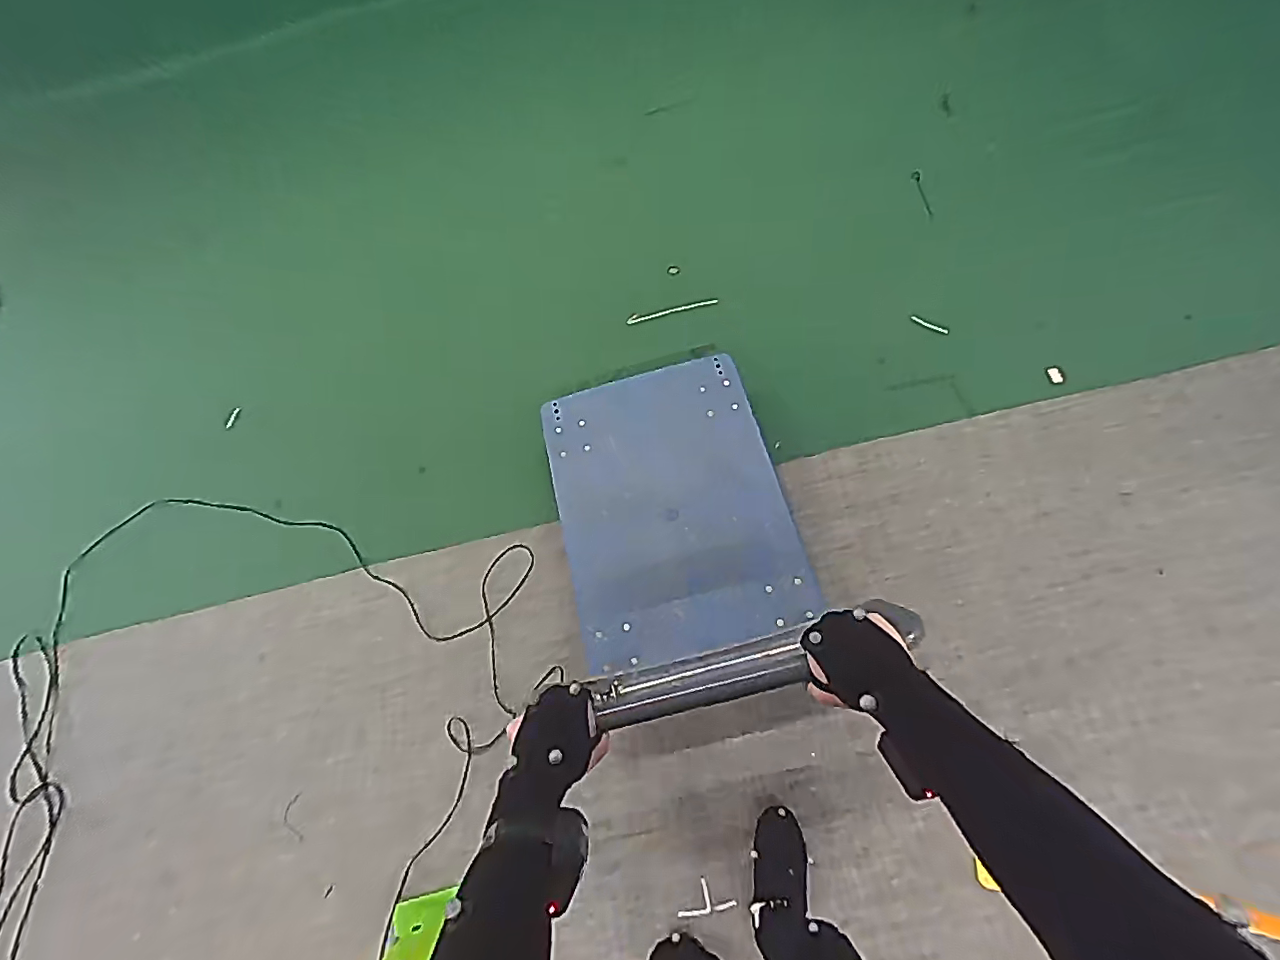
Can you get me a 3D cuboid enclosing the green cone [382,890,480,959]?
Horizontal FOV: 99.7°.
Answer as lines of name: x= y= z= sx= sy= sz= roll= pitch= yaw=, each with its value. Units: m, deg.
green cone: x=-0.495 y=1.008 z=1.082 sx=0.202 sy=0.368 sz=0.200 roll=-18 pitch=65 yaw=3
